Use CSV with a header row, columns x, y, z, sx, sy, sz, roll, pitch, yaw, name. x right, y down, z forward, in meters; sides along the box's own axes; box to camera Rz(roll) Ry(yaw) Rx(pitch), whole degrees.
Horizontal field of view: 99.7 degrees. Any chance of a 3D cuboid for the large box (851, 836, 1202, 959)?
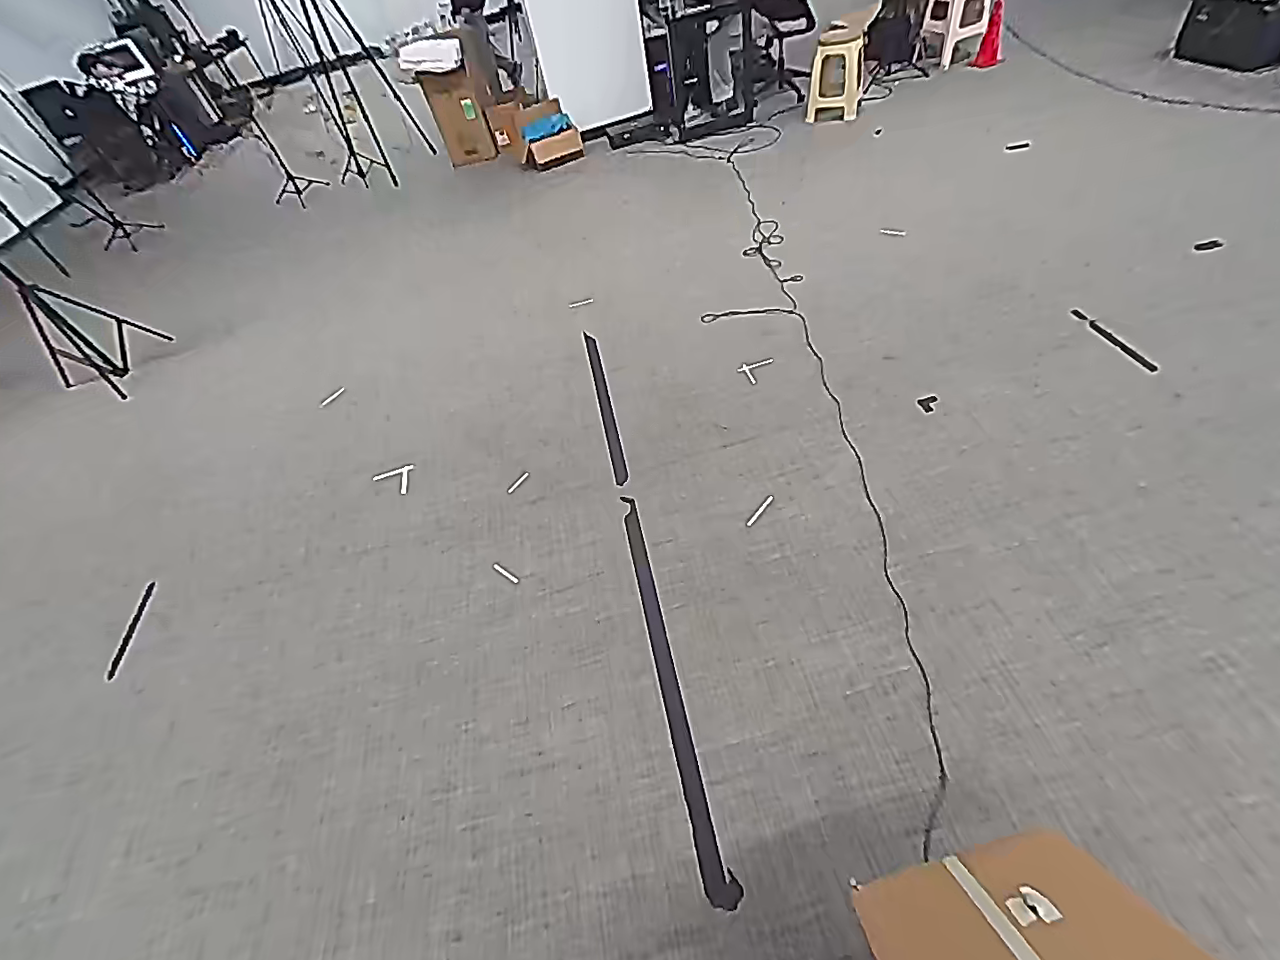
x,y,z,sx,sy,sz,roll,pitch,yaw,name
0.492,0.691,0.586,0.320,0.408,0.320,-20,81,3,large box
